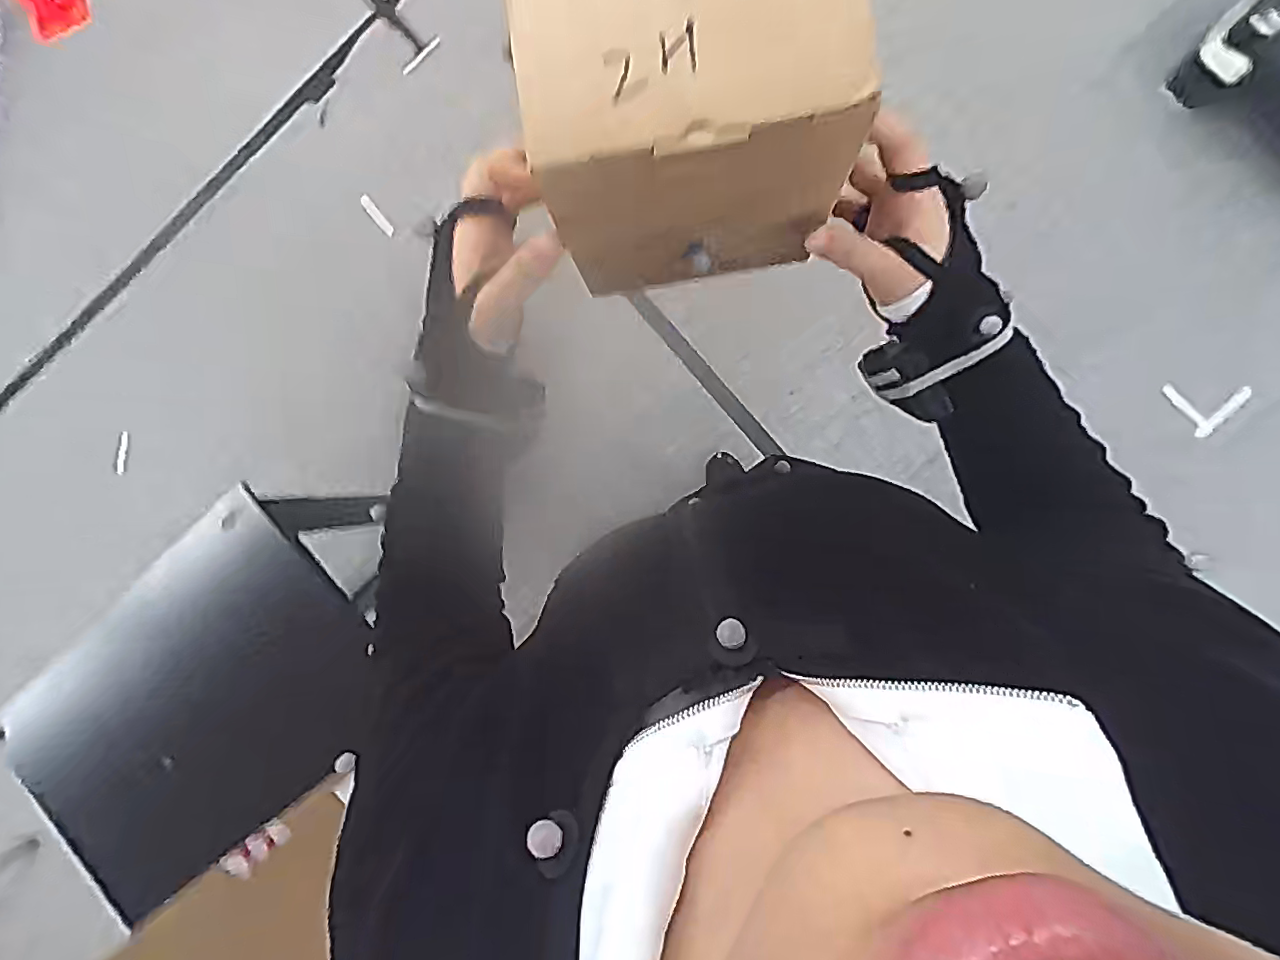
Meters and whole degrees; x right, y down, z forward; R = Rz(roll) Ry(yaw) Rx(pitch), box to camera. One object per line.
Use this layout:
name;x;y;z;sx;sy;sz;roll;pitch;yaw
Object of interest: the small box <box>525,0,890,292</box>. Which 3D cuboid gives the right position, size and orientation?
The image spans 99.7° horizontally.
small box;0.032;-0.241;0.334;0.168;0.176;0.179;-7;87;6
